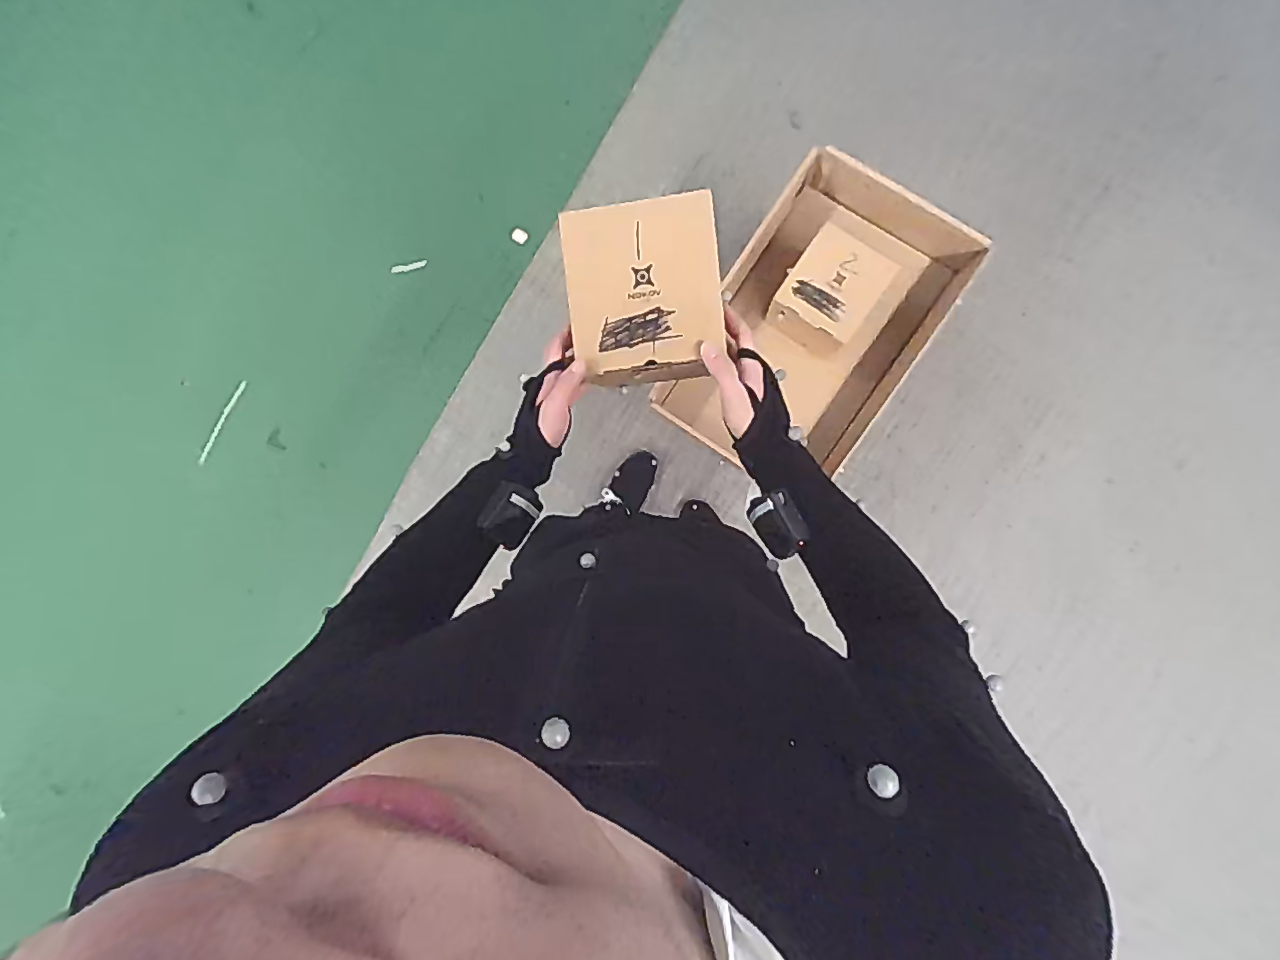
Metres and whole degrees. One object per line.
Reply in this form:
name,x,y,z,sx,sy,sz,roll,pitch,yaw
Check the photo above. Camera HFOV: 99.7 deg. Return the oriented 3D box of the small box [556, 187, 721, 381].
small box,0.007,-0.217,0.651,0.168,0.176,0.179,-6,94,6
